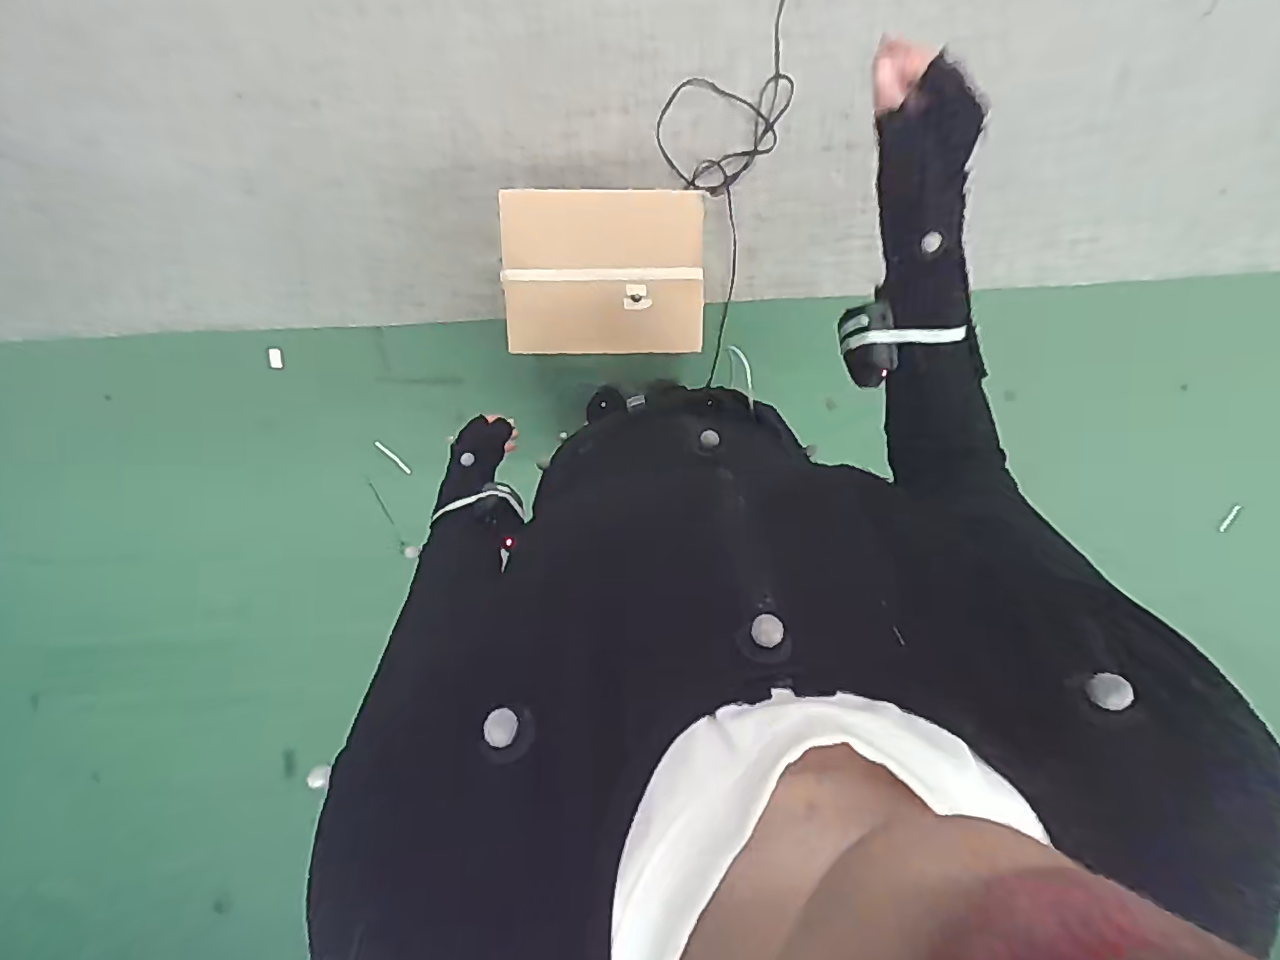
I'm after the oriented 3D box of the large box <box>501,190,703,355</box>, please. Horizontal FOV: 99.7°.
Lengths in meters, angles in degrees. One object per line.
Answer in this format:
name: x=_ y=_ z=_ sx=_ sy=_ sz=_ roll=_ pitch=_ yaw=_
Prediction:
large box: x=-0.080 y=-0.450 z=1.238 sx=0.408 sy=0.320 sz=0.320 roll=-1 pitch=104 yaw=-3
